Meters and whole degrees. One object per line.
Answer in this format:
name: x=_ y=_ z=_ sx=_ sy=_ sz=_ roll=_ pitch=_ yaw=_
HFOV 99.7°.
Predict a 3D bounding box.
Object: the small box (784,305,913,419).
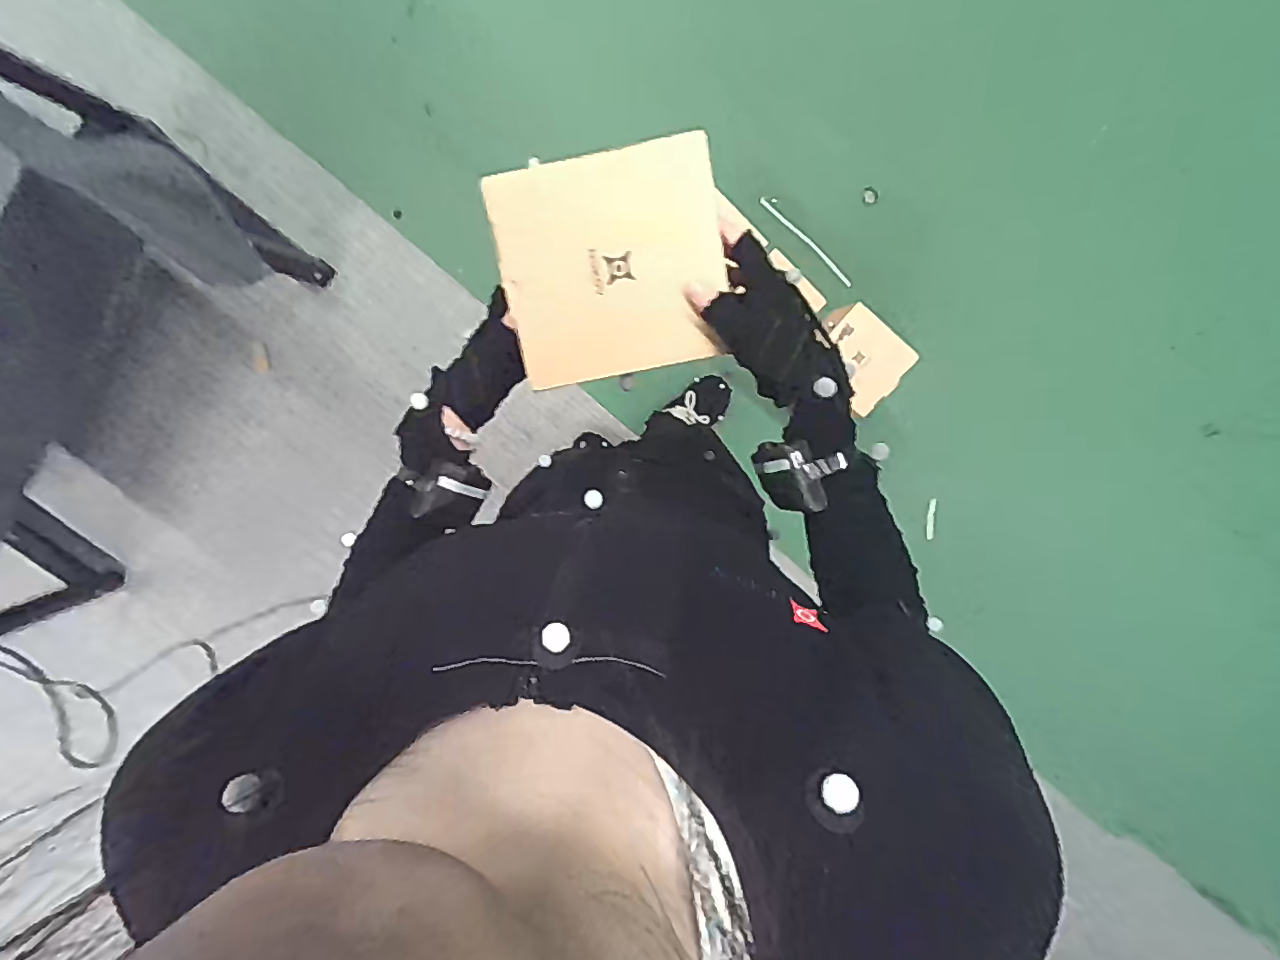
small box: x=0.449 y=-0.258 z=1.192 sx=0.179 sy=0.176 sz=0.168 roll=40 pitch=98 yaw=-7
